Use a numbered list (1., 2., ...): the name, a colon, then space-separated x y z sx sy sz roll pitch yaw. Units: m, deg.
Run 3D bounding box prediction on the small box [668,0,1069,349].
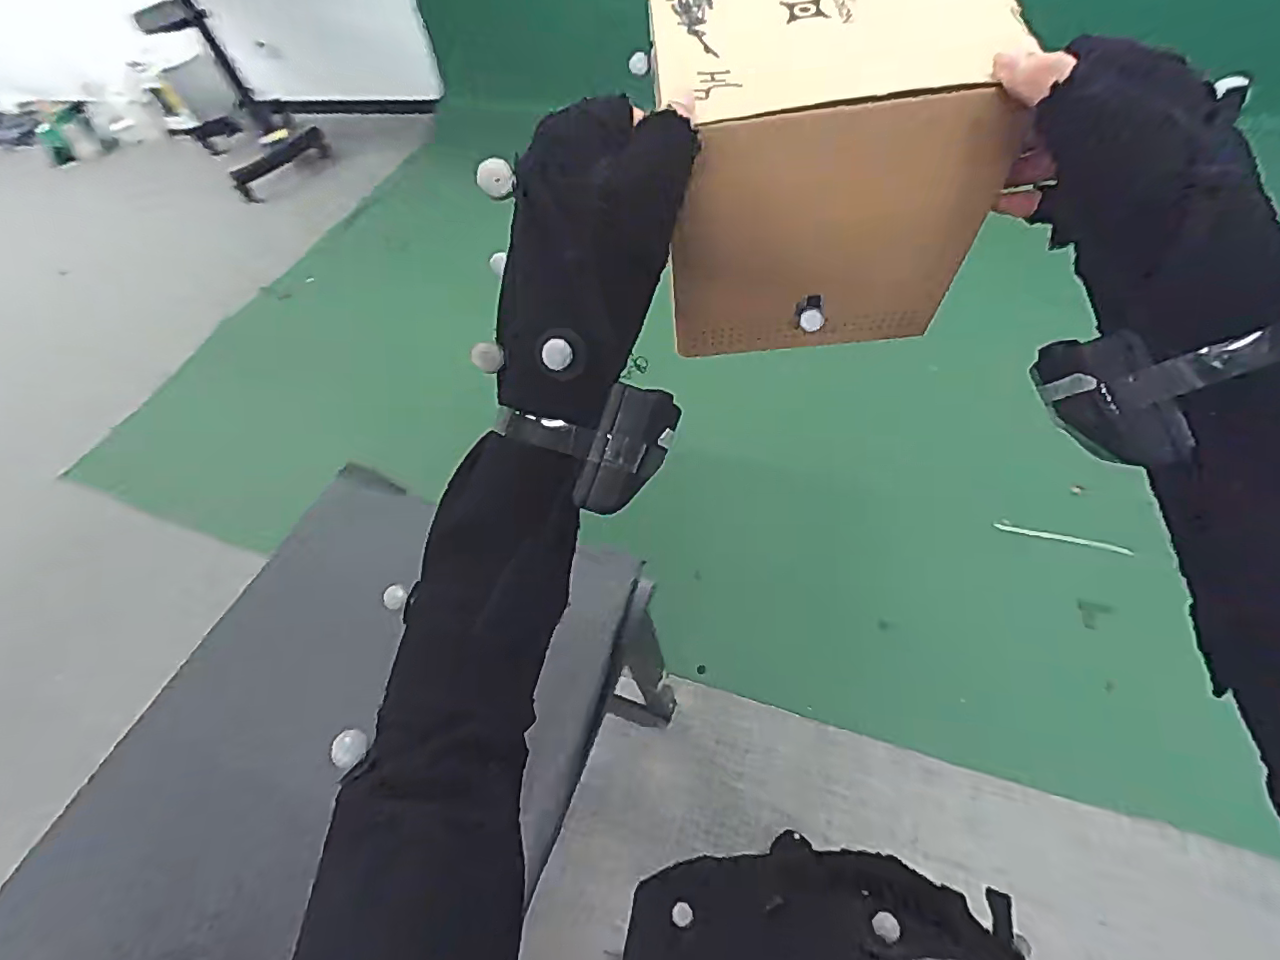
1. small box: 0.110 -0.205 0.350 0.179 0.176 0.168 -4 62 4
